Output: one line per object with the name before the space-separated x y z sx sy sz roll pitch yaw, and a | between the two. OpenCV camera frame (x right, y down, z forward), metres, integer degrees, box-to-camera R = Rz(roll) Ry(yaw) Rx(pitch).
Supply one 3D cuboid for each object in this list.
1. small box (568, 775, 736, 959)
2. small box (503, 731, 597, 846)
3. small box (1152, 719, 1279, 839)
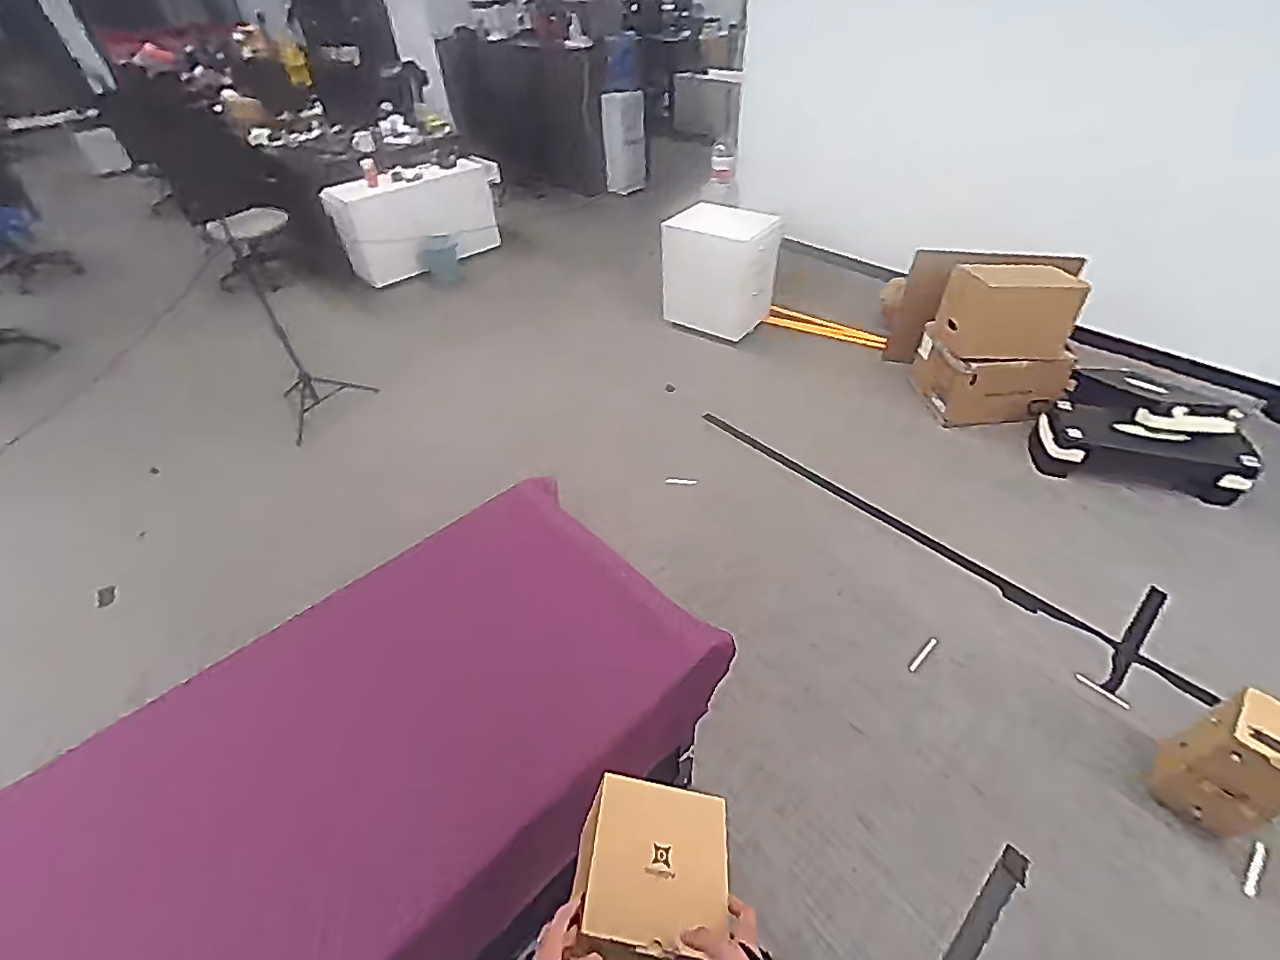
small box | 0.014 0.516 0.680 0.168 0.176 0.179 14 34 -2
small box | -0.225 0.800 1.401 0.179 0.176 0.168 -33 51 -27
small box | 1.436 0.746 1.348 0.168 0.176 0.179 33 56 32
